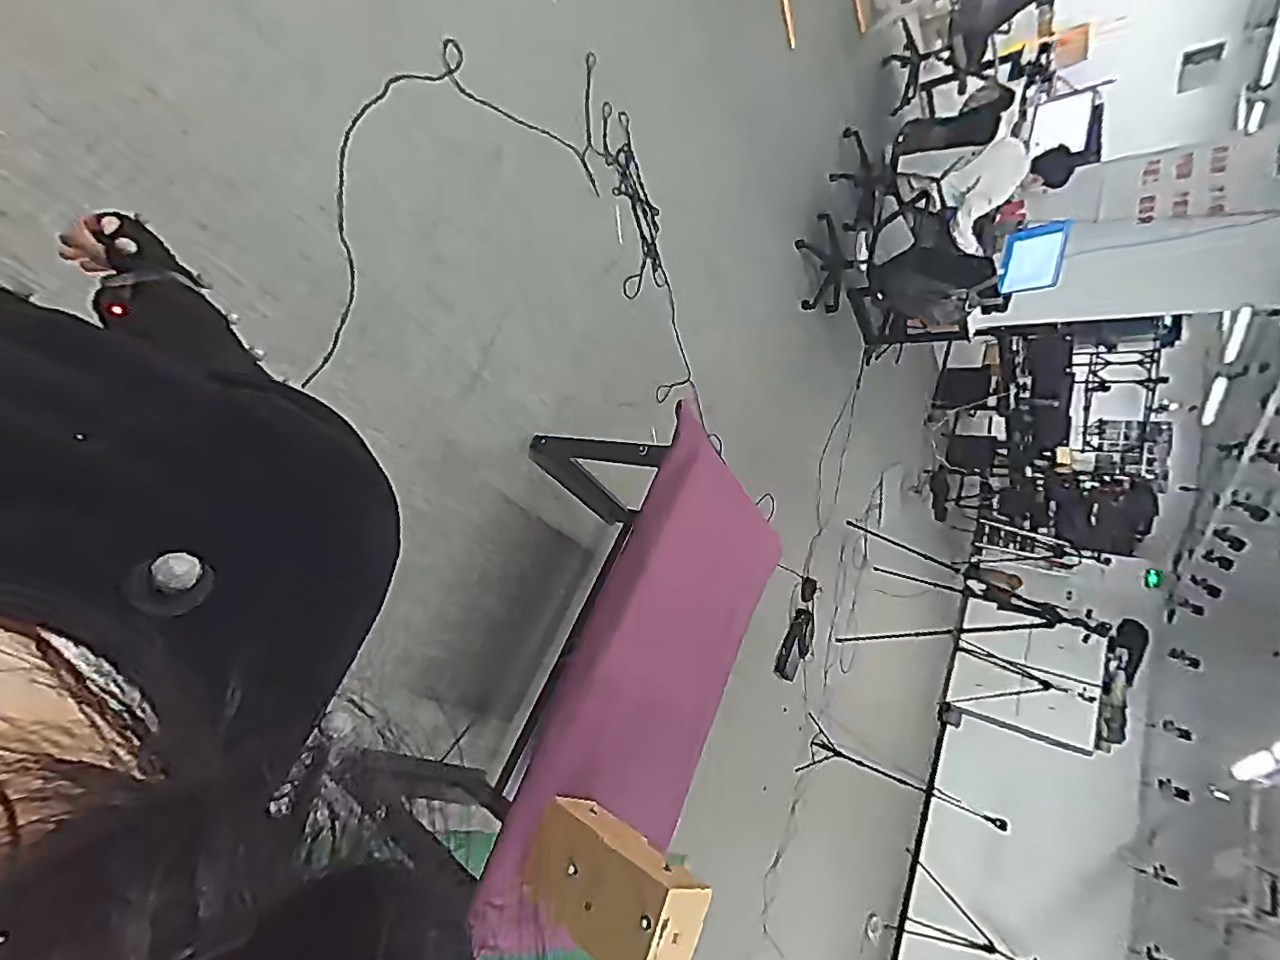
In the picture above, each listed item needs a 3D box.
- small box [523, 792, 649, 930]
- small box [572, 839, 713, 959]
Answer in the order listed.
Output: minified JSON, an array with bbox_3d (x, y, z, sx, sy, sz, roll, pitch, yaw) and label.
[{"bbox_3d":[-0.117,0.791,1.132,0.168,0.176,0.179,42,64,-43],"label":"small box"},{"bbox_3d":[0.006,0.811,1.025,0.179,0.176,0.168,44,62,-43],"label":"small box"}]
